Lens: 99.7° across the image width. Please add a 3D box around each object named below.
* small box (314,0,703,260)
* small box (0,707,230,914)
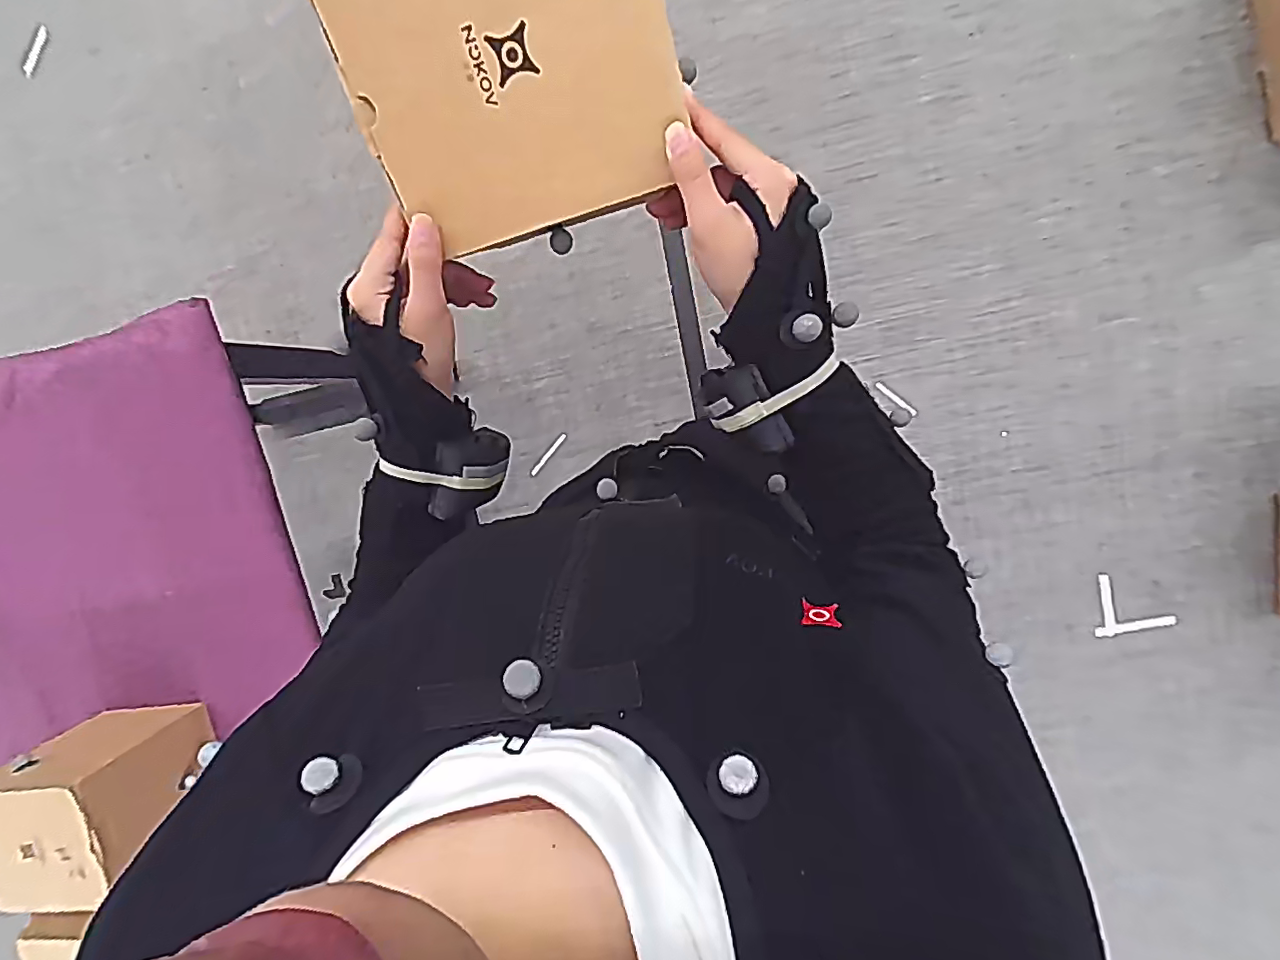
[{"bbox_3d":[-0.066,-0.259,0.352,0.179,0.176,0.168,-13,115,10],"label":"small box"},{"bbox_3d":[-0.701,0.423,0.712,0.179,0.176,0.168,-8,99,9],"label":"small box"}]
